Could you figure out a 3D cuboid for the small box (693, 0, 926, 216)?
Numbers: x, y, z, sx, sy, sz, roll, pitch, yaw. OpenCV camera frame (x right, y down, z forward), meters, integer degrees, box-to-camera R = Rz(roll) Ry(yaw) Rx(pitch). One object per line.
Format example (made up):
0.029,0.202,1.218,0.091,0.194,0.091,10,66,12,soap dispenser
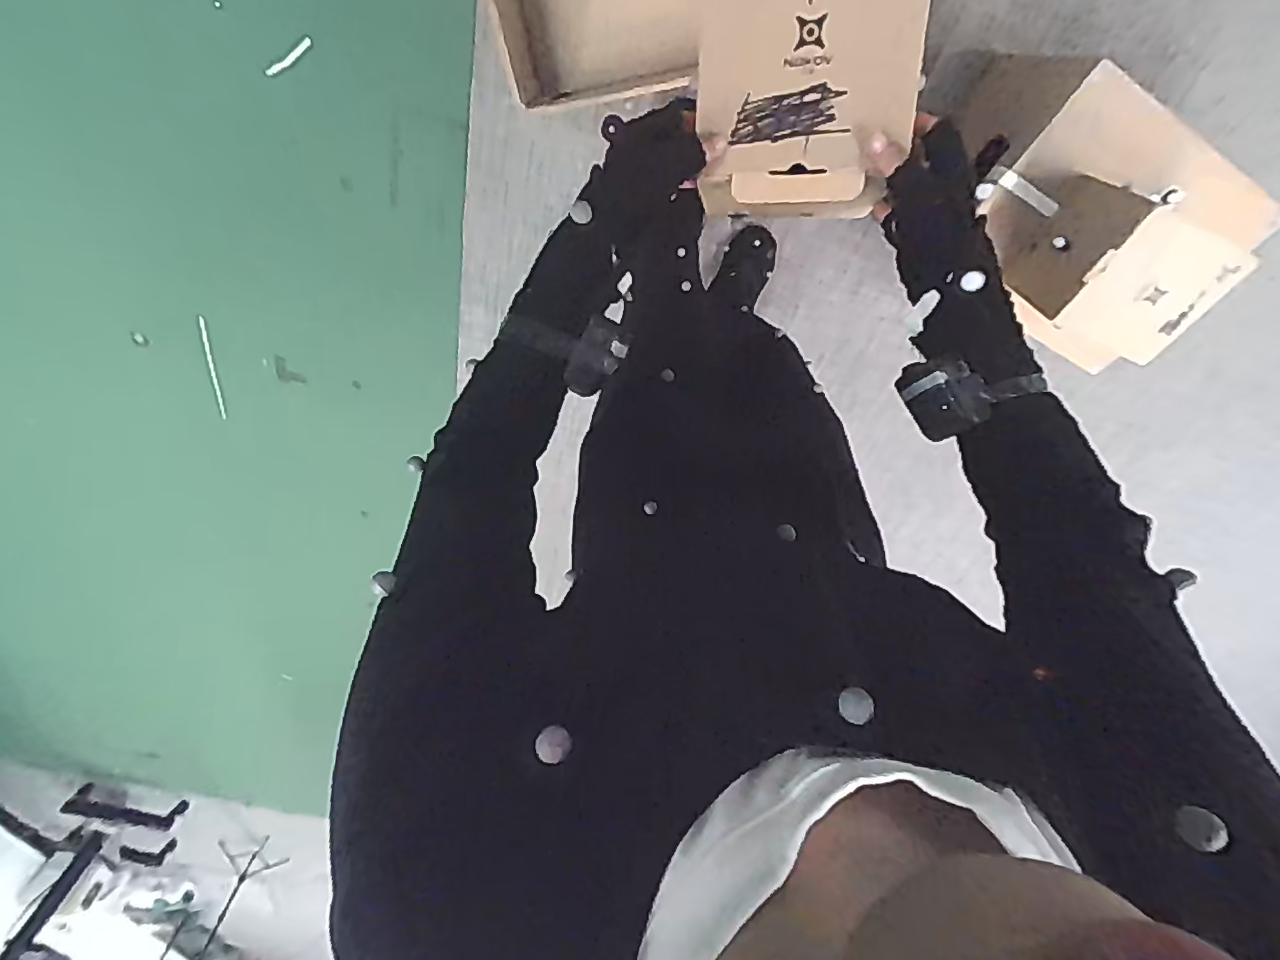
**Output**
0.142,-0.345,0.486,0.168,0.176,0.179,4,104,10,small box

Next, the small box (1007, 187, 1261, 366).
0.686,-0.298,0.780,0.179,0.176,0.168,20,129,-9,small box
